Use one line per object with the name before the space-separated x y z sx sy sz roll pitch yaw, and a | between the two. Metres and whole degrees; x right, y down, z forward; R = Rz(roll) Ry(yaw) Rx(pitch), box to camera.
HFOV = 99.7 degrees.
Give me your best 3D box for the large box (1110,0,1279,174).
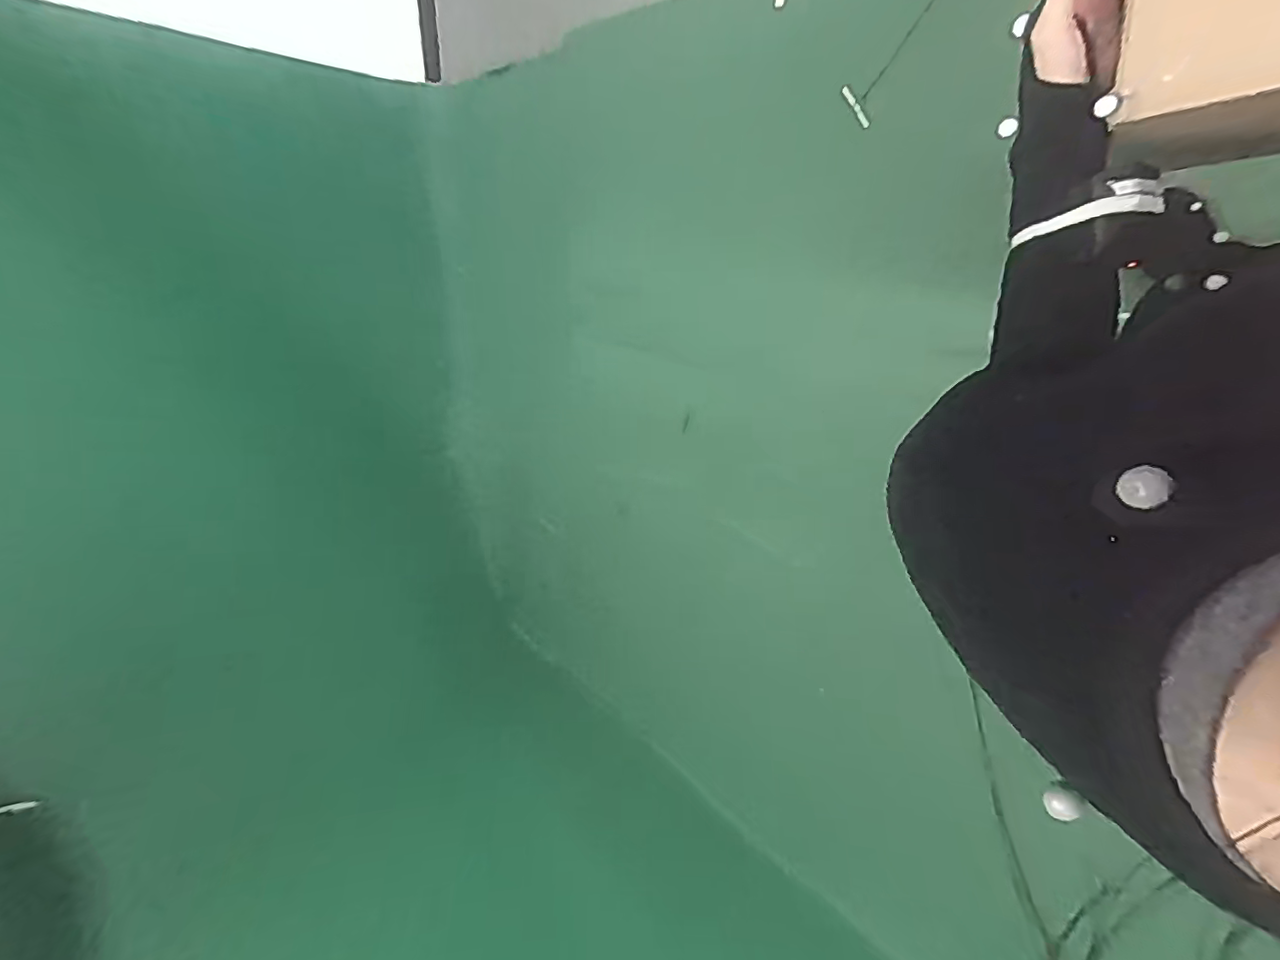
large box | 0.571 -0.413 0.324 0.408 0.320 0.320 9 111 38
